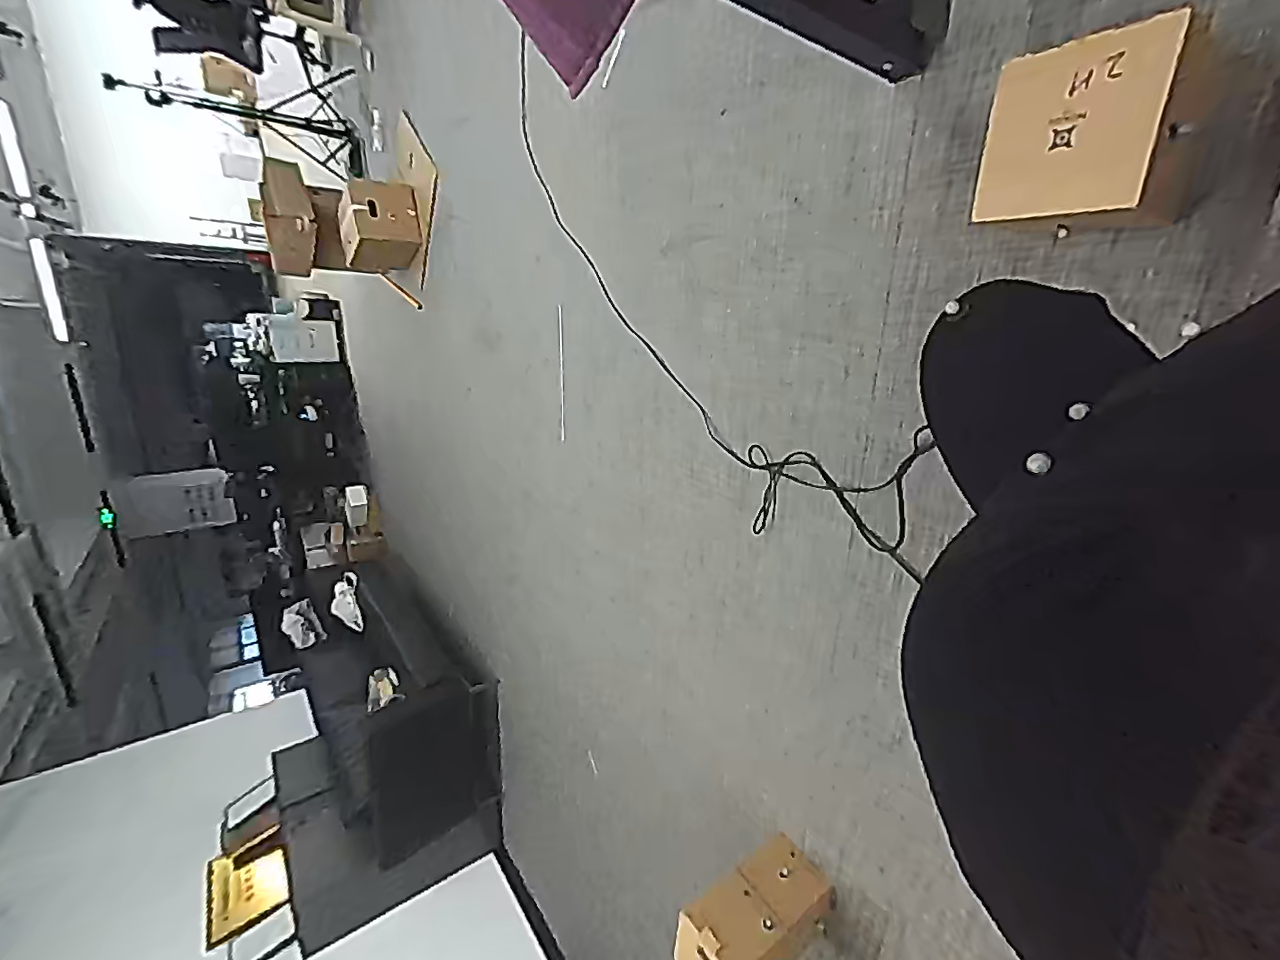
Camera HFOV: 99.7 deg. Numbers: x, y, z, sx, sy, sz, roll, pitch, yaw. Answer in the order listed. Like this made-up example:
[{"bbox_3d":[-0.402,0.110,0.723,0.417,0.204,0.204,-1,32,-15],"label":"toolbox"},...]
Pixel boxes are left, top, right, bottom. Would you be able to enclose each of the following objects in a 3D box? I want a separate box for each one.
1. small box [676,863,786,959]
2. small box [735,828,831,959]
[{"bbox_3d":[0.201,1.013,1.202,0.168,0.176,0.179,29,122,48],"label":"small box"},{"bbox_3d":[0.334,0.992,1.299,0.168,0.176,0.179,27,119,49],"label":"small box"}]
